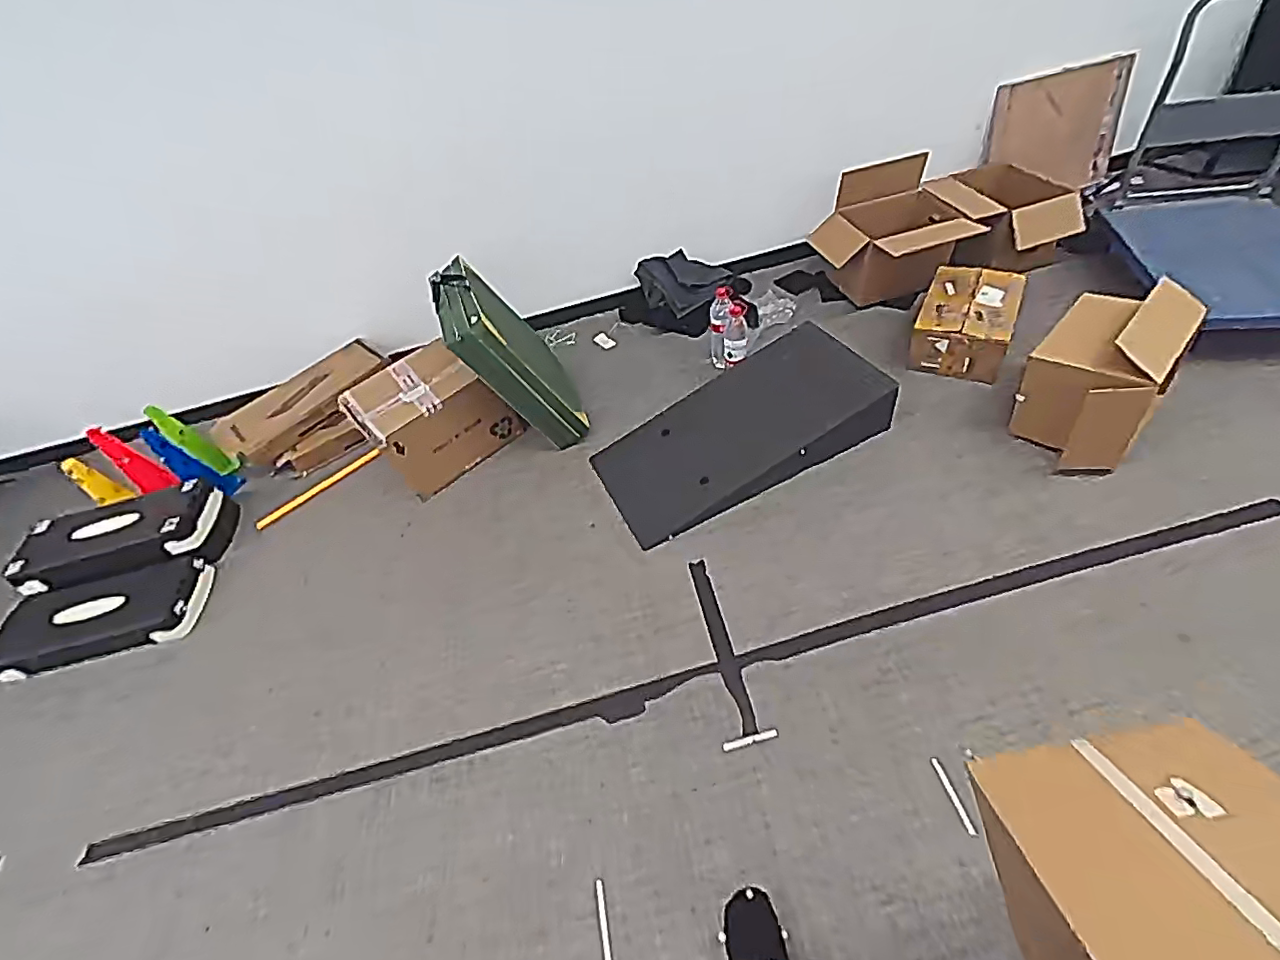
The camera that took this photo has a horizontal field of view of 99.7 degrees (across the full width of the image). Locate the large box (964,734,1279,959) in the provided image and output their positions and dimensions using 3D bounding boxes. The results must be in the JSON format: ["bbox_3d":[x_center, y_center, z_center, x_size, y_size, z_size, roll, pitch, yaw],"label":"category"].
[{"bbox_3d":[0.653,0.569,0.614,0.320,0.320,0.408,-15,4,10],"label":"large box"}]
